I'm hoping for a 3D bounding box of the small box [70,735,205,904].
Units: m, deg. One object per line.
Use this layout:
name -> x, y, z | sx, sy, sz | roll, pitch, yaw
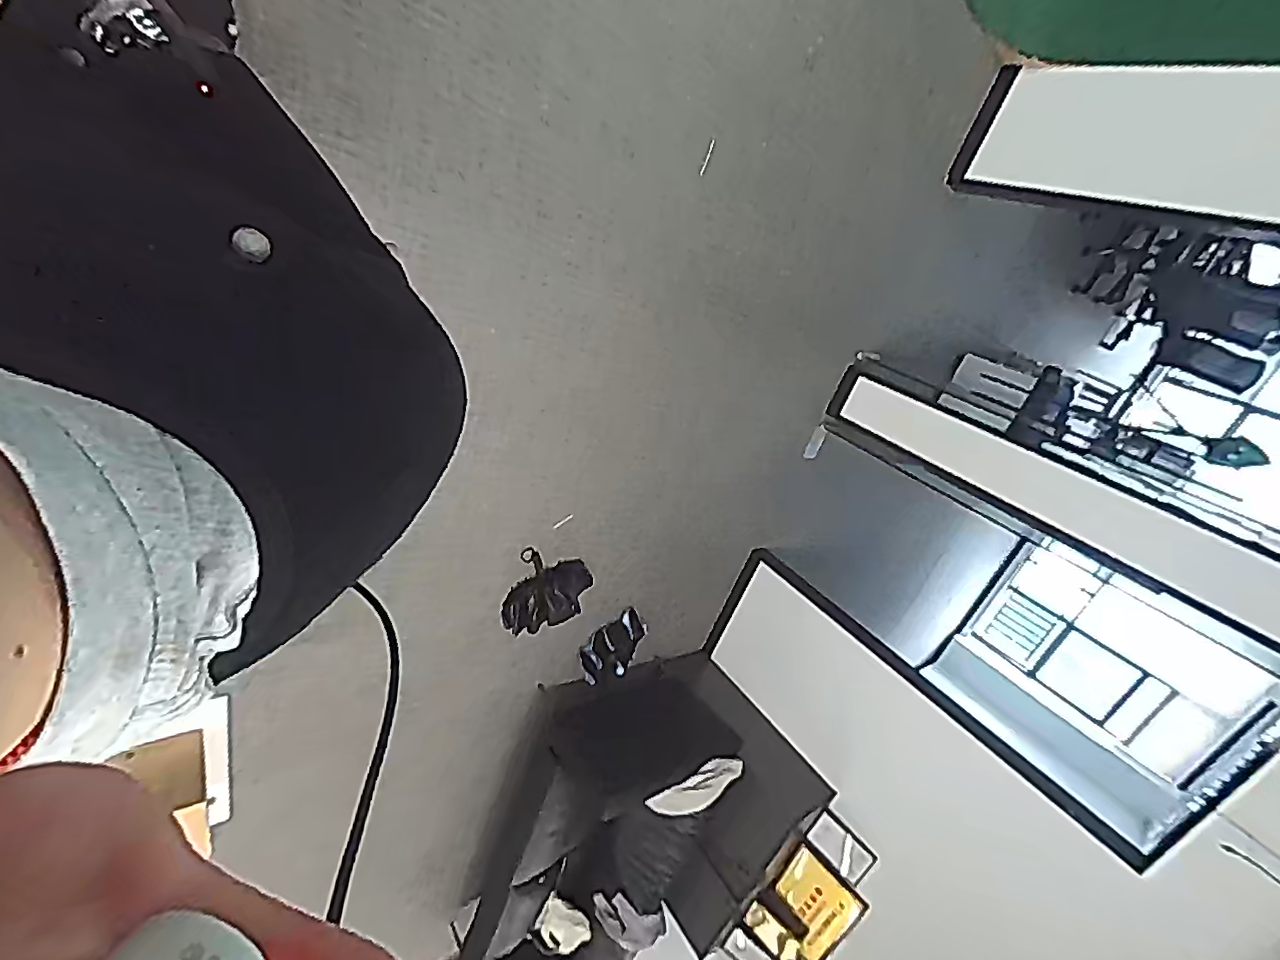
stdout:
small box -> -0.904, 0.608, 0.988 | 0.168, 0.176, 0.179 | -4, 124, -39
